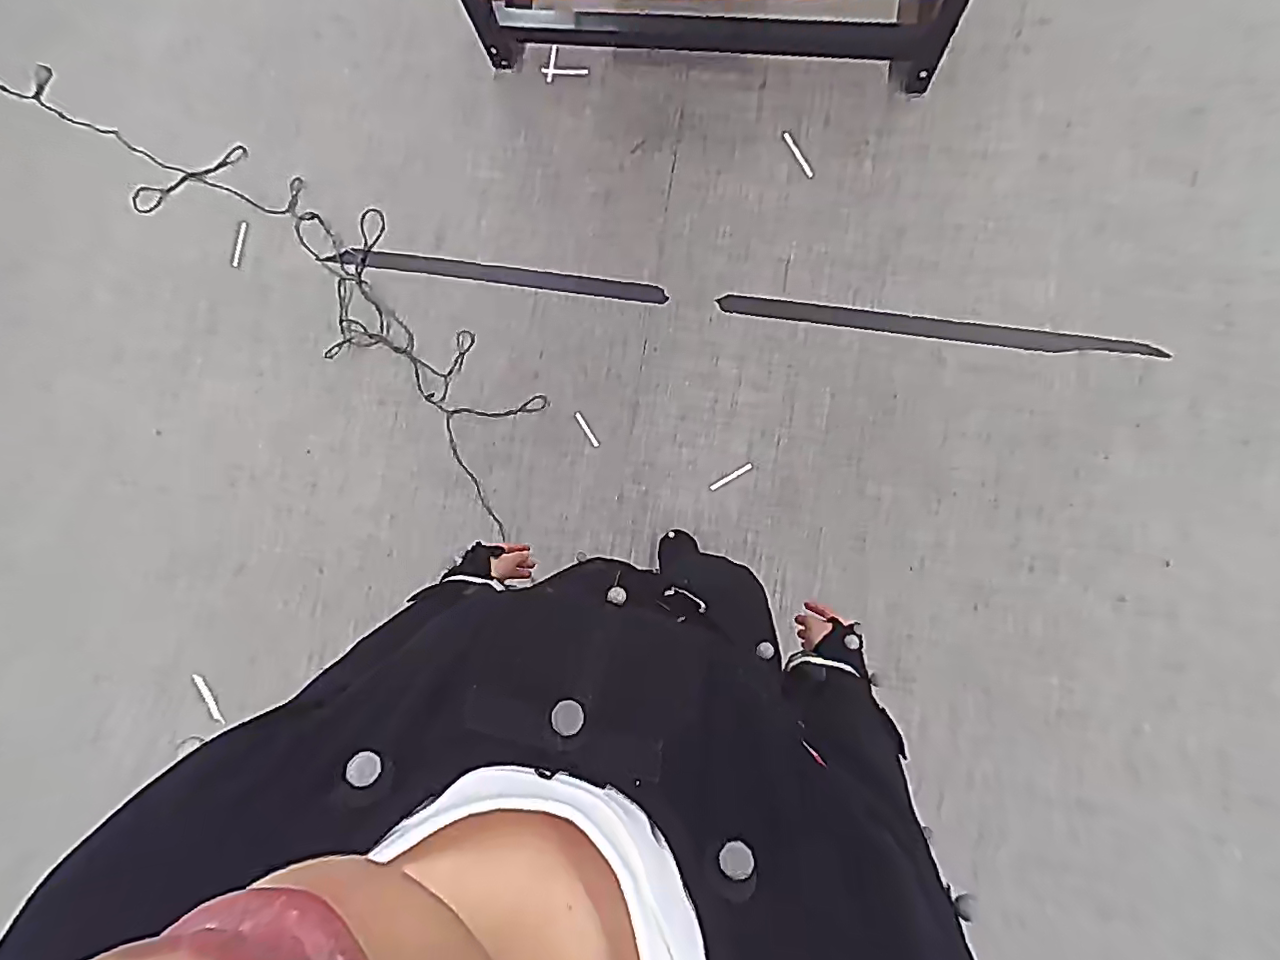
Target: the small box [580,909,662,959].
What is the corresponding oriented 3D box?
[{"bbox_3d":[-0.052,1.145,1.238,0.179,0.176,0.168,10,87,9],"label":"small box"}]
